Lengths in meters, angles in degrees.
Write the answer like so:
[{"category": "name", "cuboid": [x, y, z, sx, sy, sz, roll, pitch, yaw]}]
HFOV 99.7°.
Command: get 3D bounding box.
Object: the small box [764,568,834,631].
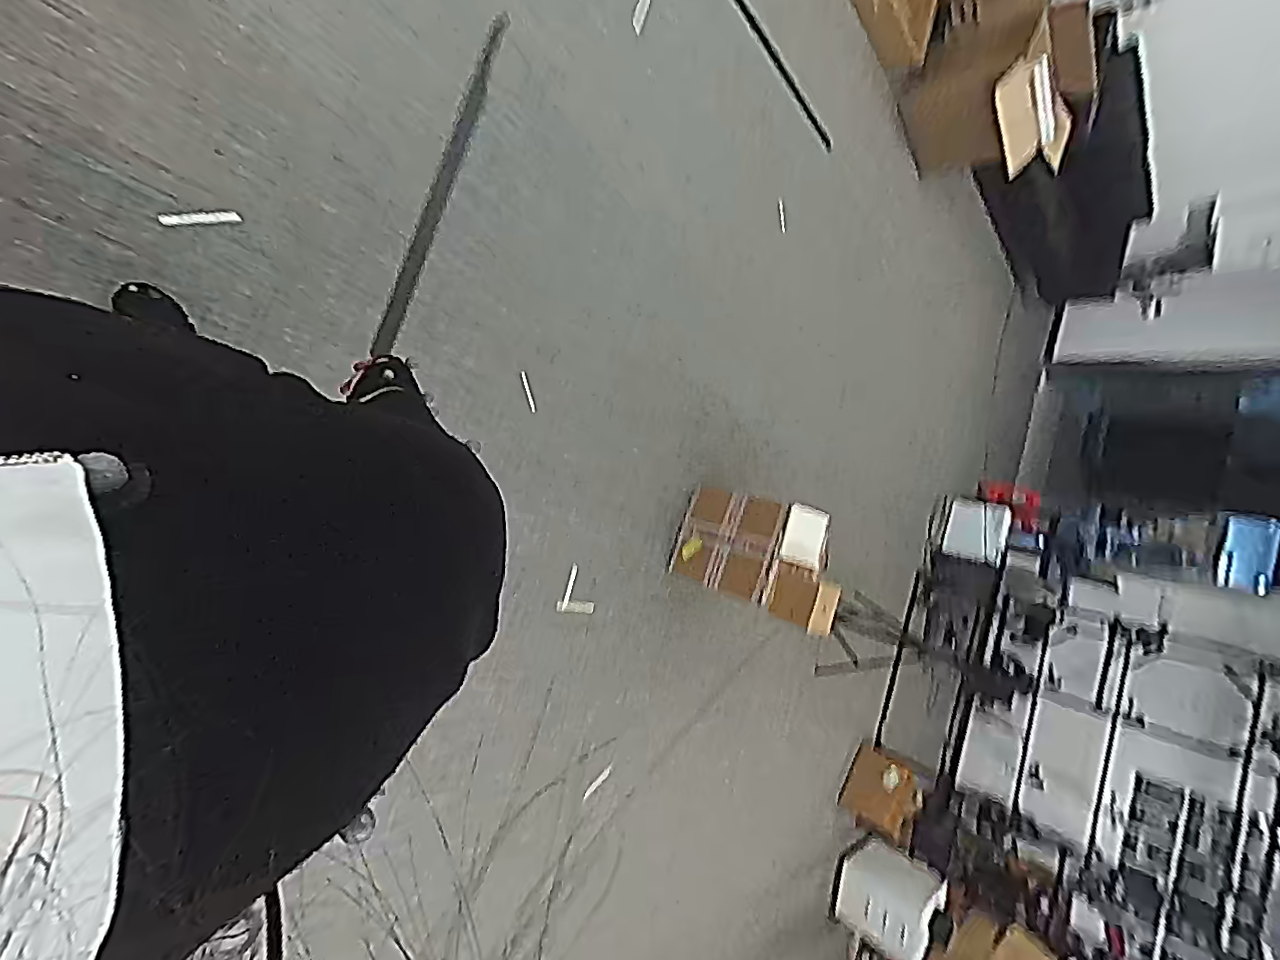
[{"category": "small box", "cuboid": [0.581, 0.441, 1.994, 0.168, 0.176, 0.179, 19, 86, -43]}]
